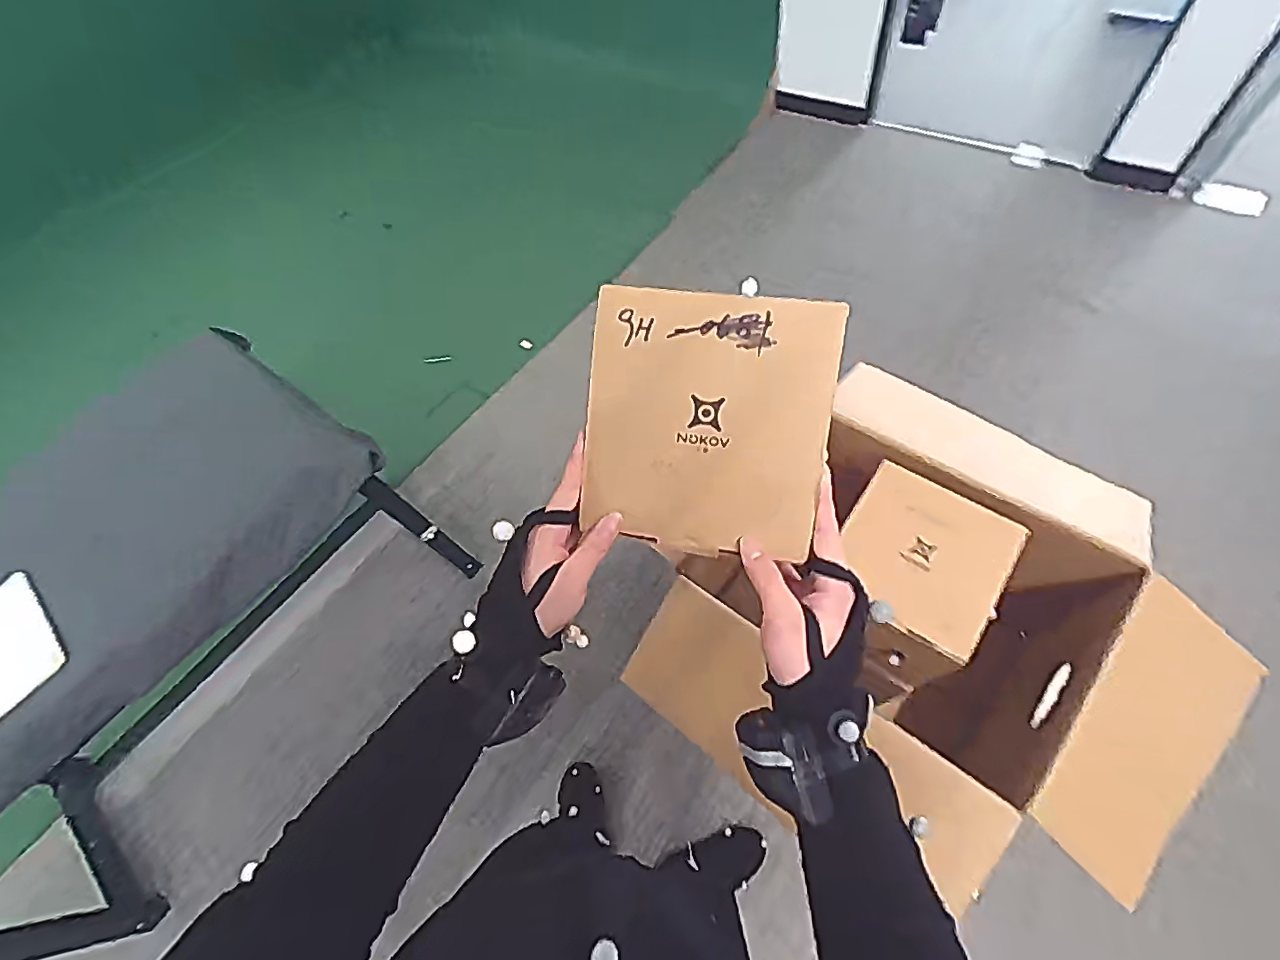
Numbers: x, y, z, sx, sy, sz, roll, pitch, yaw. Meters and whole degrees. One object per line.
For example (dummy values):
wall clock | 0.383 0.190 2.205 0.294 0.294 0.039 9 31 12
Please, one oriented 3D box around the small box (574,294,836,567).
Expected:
small box | 0.052 -0.048 0.453 0.168 0.176 0.179 7 102 7
